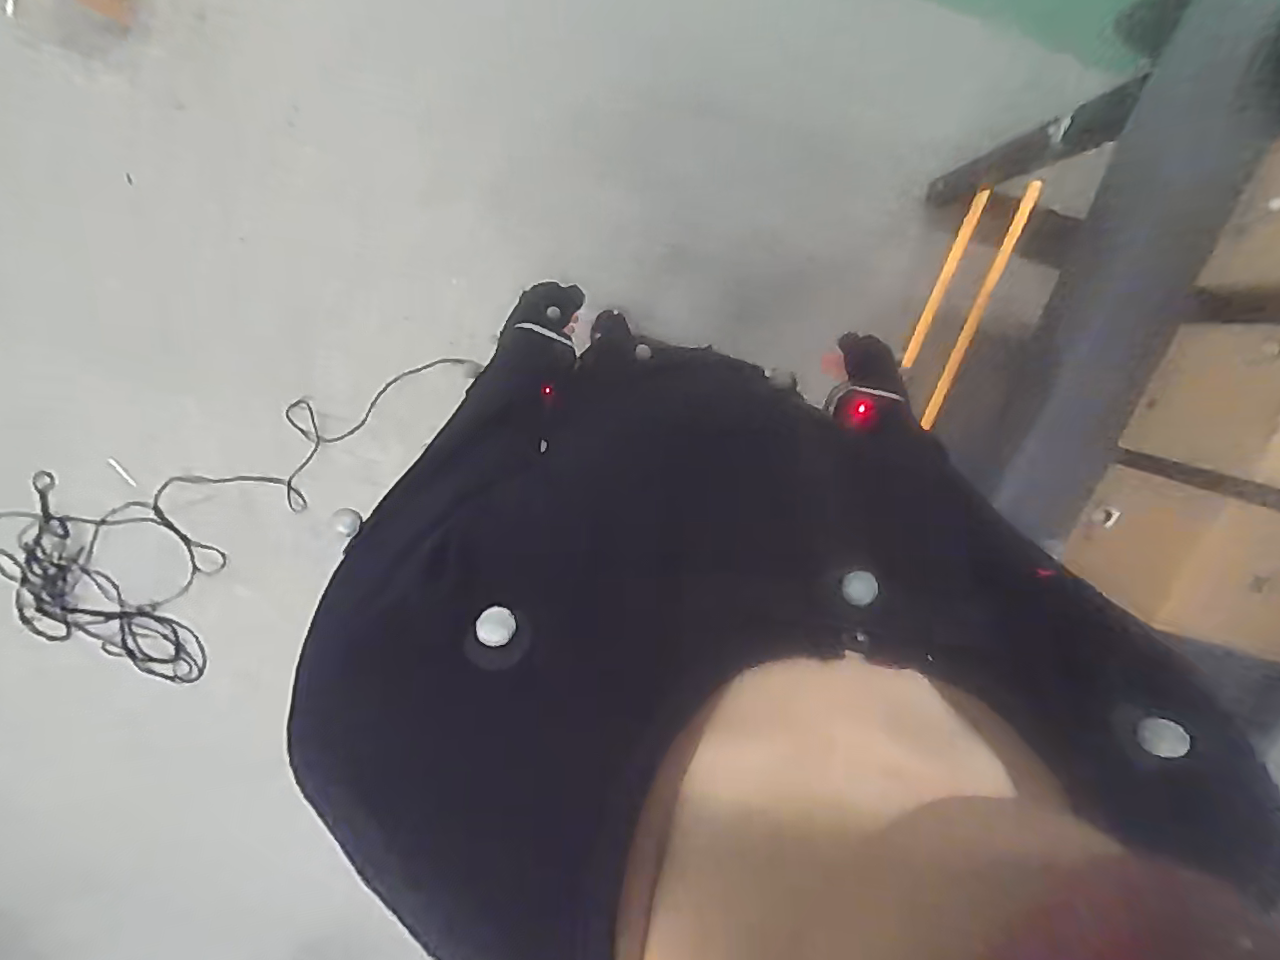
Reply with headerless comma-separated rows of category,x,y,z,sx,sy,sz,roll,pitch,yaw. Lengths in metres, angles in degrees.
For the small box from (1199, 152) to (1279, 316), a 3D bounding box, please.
small box,0.791,-0.268,0.578,0.179,0.176,0.168,15,105,-4
